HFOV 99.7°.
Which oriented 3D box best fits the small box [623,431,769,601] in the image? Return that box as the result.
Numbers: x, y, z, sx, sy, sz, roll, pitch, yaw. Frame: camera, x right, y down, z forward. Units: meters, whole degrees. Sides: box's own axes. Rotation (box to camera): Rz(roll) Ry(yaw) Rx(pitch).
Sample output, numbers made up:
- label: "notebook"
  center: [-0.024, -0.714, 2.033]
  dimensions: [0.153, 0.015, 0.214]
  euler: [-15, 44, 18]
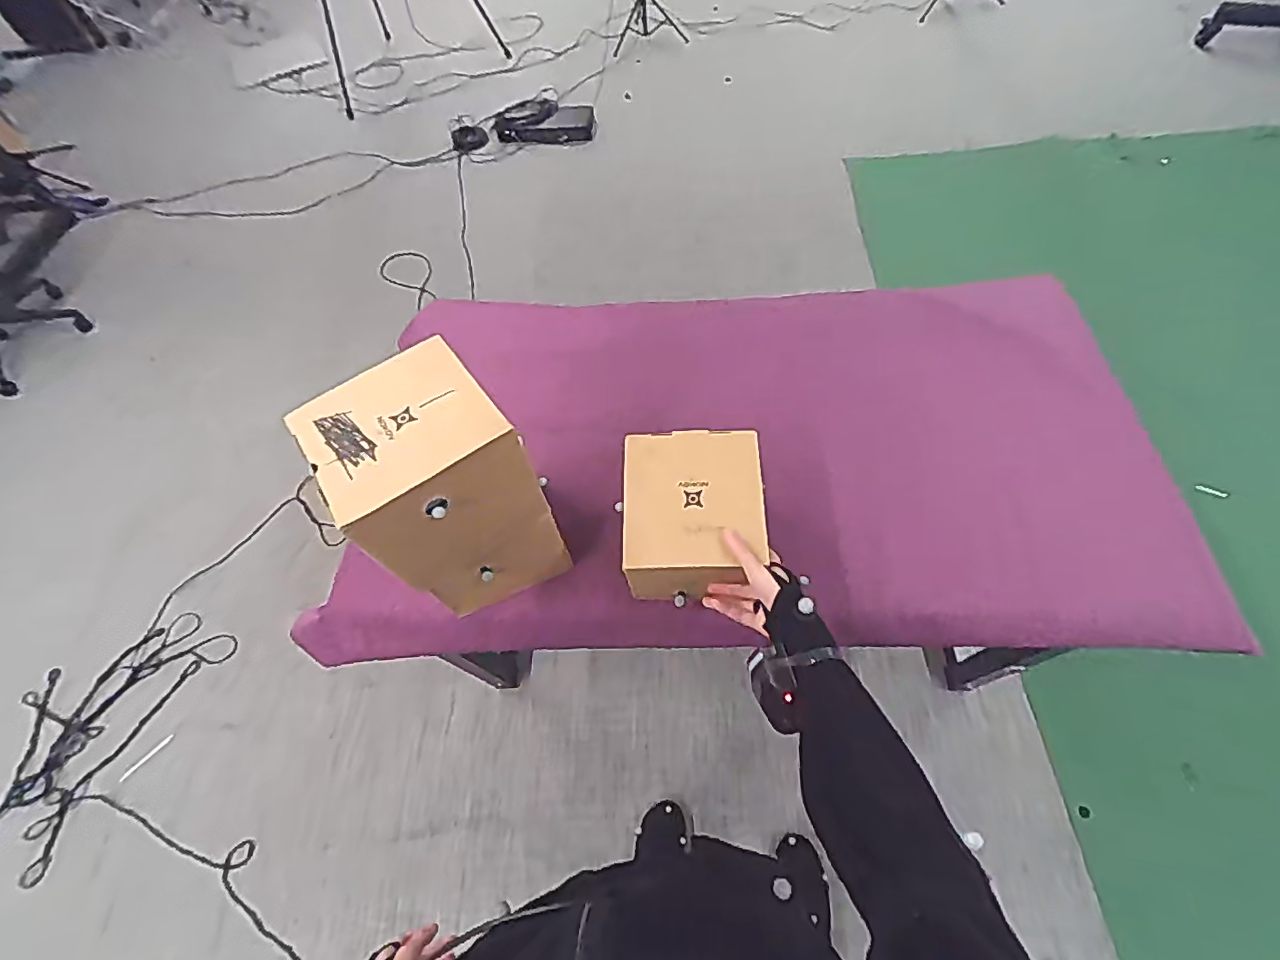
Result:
- label: "small box"
  center: [0.069, 0.052, 0.708]
  dimensions: [0.168, 0.176, 0.179]
  euler: [-1, 65, 5]

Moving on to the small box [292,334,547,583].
- label: "small box"
  center: [-0.227, -0.017, 0.592]
  dimensions: [0.179, 0.176, 0.168]
  euler: [-33, 62, -15]

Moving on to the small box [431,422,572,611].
- label: "small box"
  center: [-0.211, 0.055, 0.740]
  dimensions: [0.179, 0.176, 0.168]
  euler: [-23, 60, -8]
